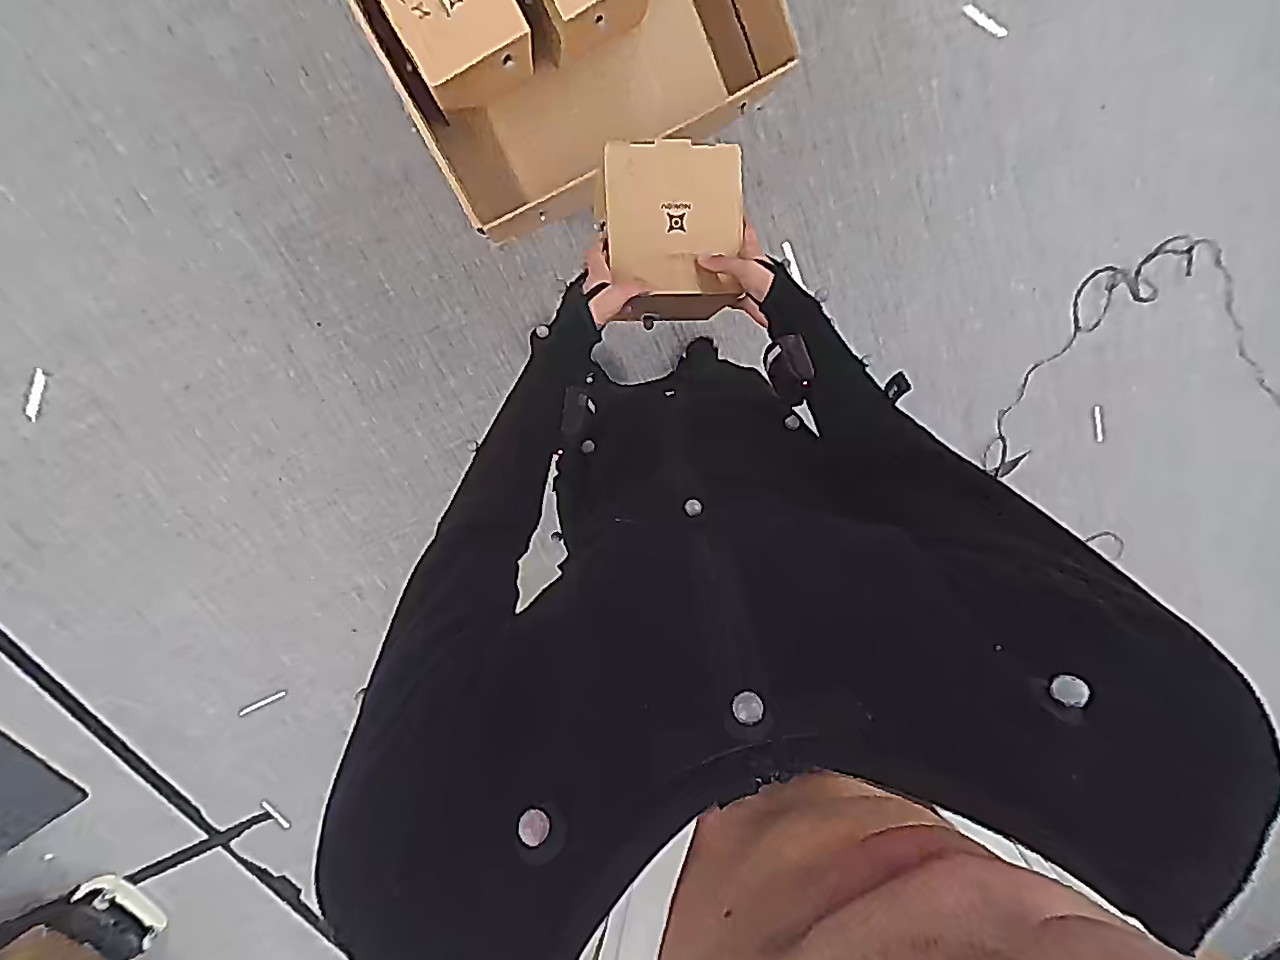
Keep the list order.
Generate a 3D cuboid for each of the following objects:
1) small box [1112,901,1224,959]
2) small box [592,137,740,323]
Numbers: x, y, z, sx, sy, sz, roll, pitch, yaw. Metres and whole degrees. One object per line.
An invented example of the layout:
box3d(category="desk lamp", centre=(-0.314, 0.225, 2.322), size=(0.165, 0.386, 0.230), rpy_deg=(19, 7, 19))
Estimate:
box3d(category="small box", centre=(1.479, 1.335, 1.521), size=(0.168, 0.176, 0.179), rpy_deg=(-27, 113, -1))
box3d(category="small box", centre=(0.026, -0.315, 0.714), size=(0.168, 0.176, 0.179), rpy_deg=(-3, 96, -8))
